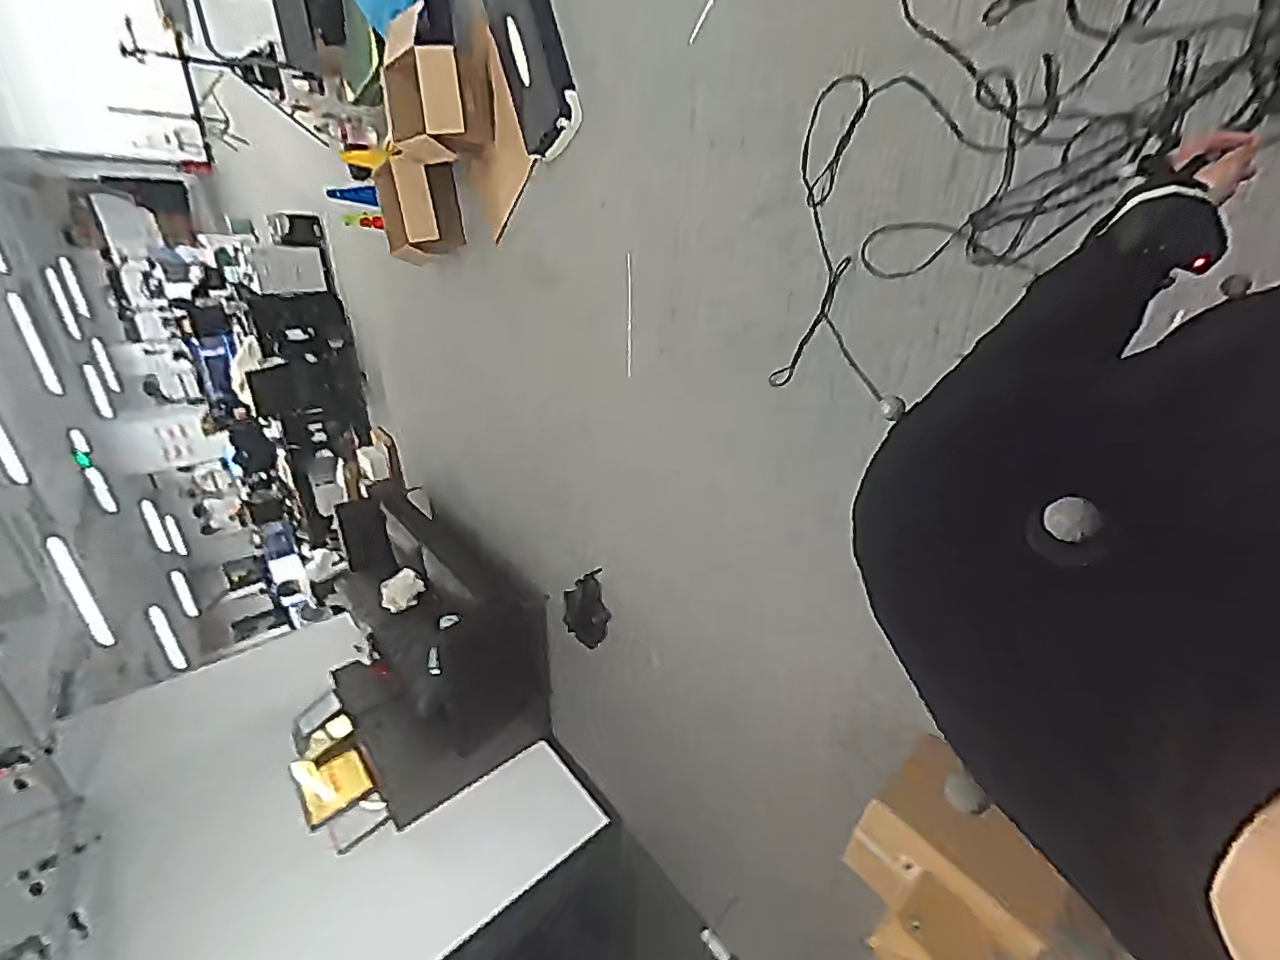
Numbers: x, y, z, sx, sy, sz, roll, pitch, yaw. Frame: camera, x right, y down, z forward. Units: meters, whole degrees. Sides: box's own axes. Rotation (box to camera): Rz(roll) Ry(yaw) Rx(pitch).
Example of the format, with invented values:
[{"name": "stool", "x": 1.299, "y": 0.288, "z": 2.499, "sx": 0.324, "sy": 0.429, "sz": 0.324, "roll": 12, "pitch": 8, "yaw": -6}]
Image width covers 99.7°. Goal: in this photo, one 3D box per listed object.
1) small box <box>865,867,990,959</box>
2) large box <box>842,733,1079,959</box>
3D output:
[{"name": "small box", "x": 0.673, "y": 1.067, "z": 1.264, "sx": 0.179, "sy": 0.176, "sz": 0.168, "roll": 39, "pitch": 134, "yaw": 36}, {"name": "large box", "x": 0.830, "y": 0.983, "z": 1.435, "sx": 0.408, "sy": 0.320, "sz": 0.320, "roll": 34, "pitch": 129, "yaw": 40}]
